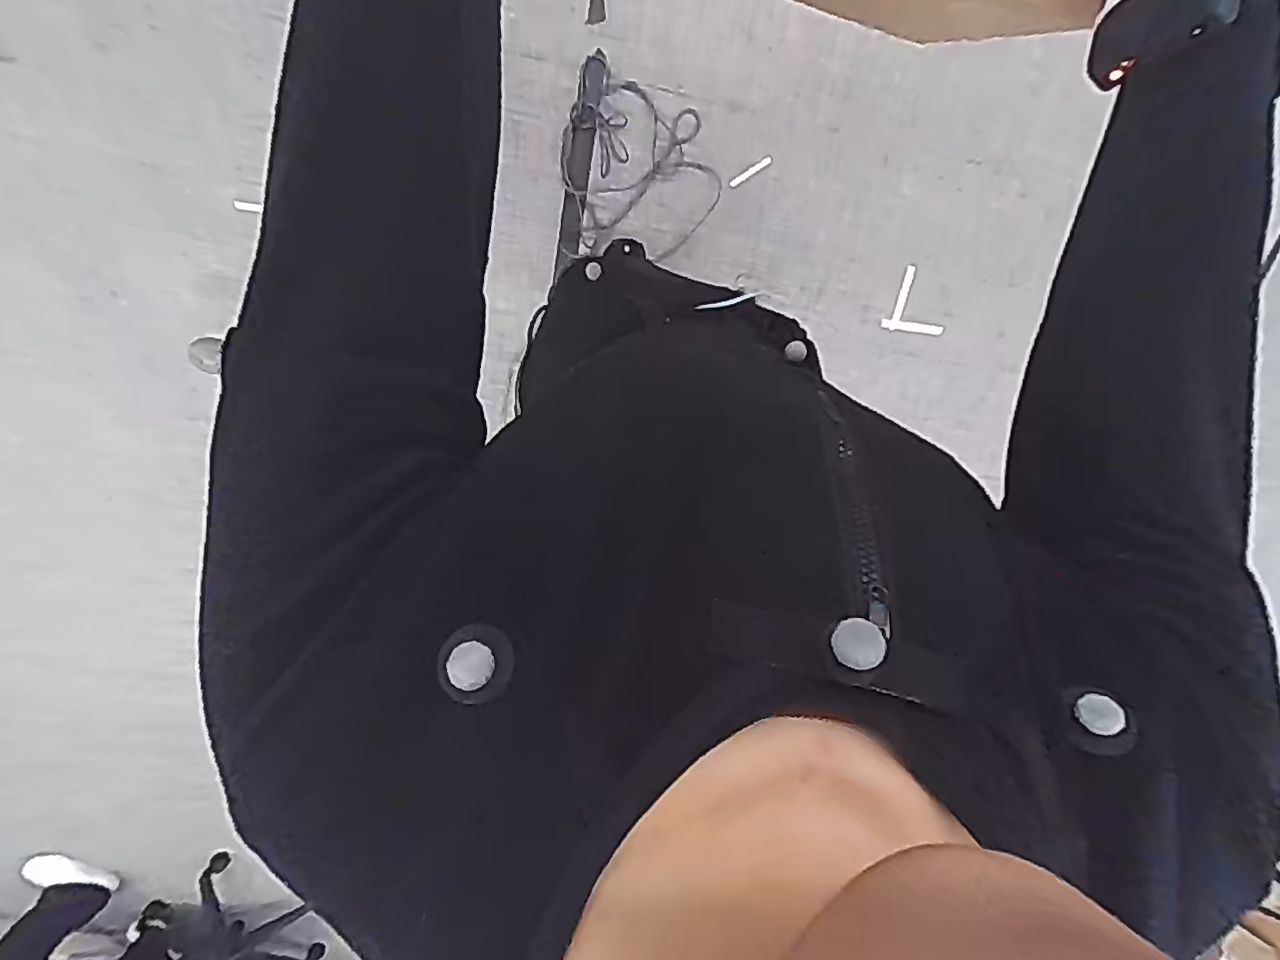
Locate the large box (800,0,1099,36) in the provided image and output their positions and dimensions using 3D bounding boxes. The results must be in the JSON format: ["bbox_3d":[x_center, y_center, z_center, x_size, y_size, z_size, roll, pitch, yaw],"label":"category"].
[{"bbox_3d":[0.158,-0.567,0.383,0.408,0.320,0.320,11,128,-9],"label":"large box"}]
